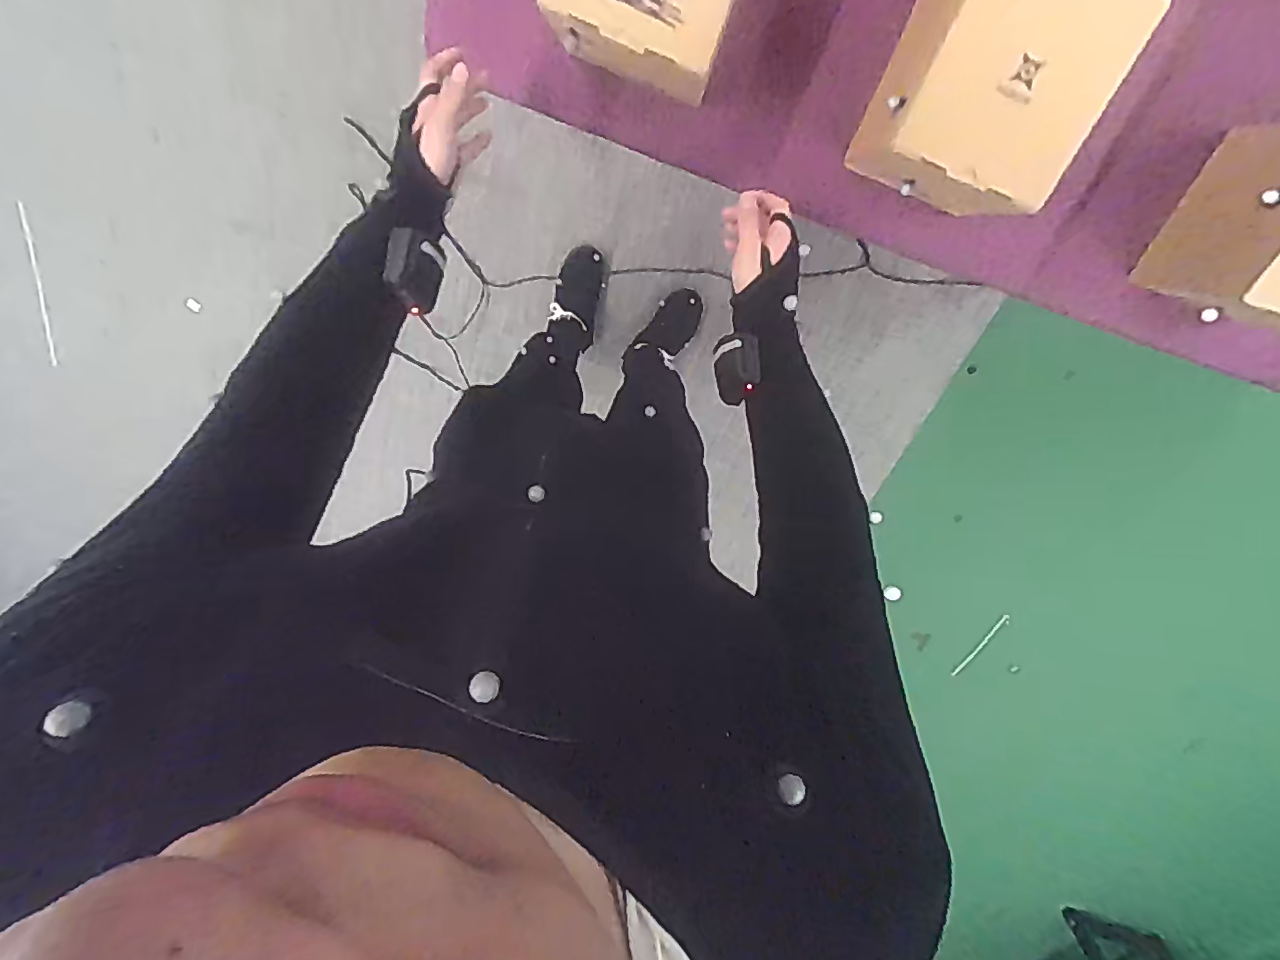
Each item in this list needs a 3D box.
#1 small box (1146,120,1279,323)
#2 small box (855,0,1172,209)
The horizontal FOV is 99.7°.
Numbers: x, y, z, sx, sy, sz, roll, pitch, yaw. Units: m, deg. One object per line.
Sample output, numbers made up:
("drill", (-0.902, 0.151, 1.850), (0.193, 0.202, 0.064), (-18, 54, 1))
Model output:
("small box", (0.723, -0.272, 0.581), (0.168, 0.176, 0.179), (18, 118, -3))
("small box", (0.348, -0.397, 0.551), (0.168, 0.176, 0.179), (19, 117, -5))
